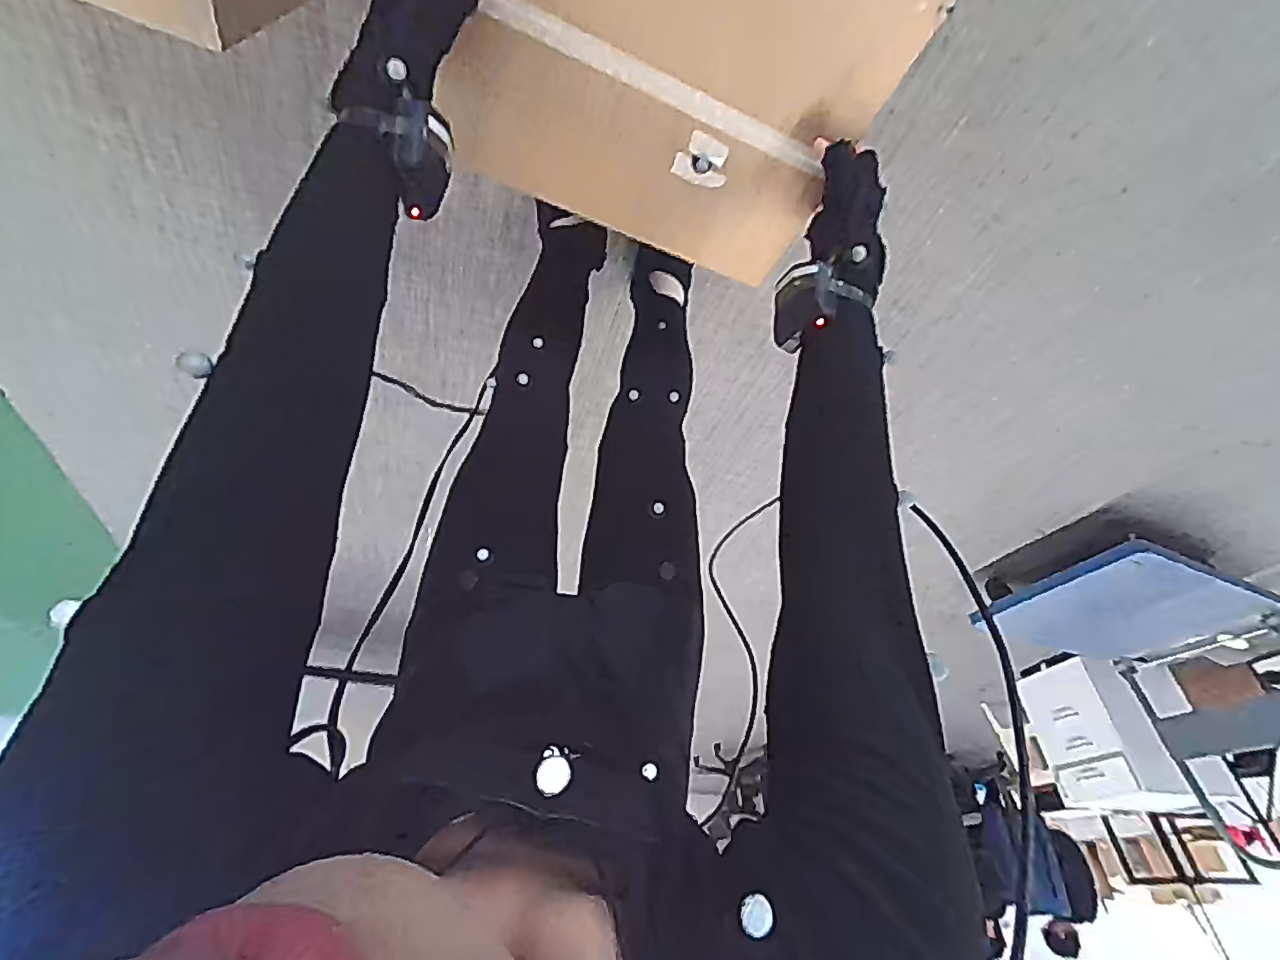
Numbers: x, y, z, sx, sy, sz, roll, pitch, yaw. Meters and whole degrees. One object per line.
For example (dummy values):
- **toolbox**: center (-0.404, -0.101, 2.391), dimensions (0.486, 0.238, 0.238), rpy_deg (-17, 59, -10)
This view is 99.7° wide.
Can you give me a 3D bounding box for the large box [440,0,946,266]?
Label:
- **large box**: center (0.032, -0.514, 0.591), dimensions (0.408, 0.320, 0.320), rpy_deg (14, 143, -19)
